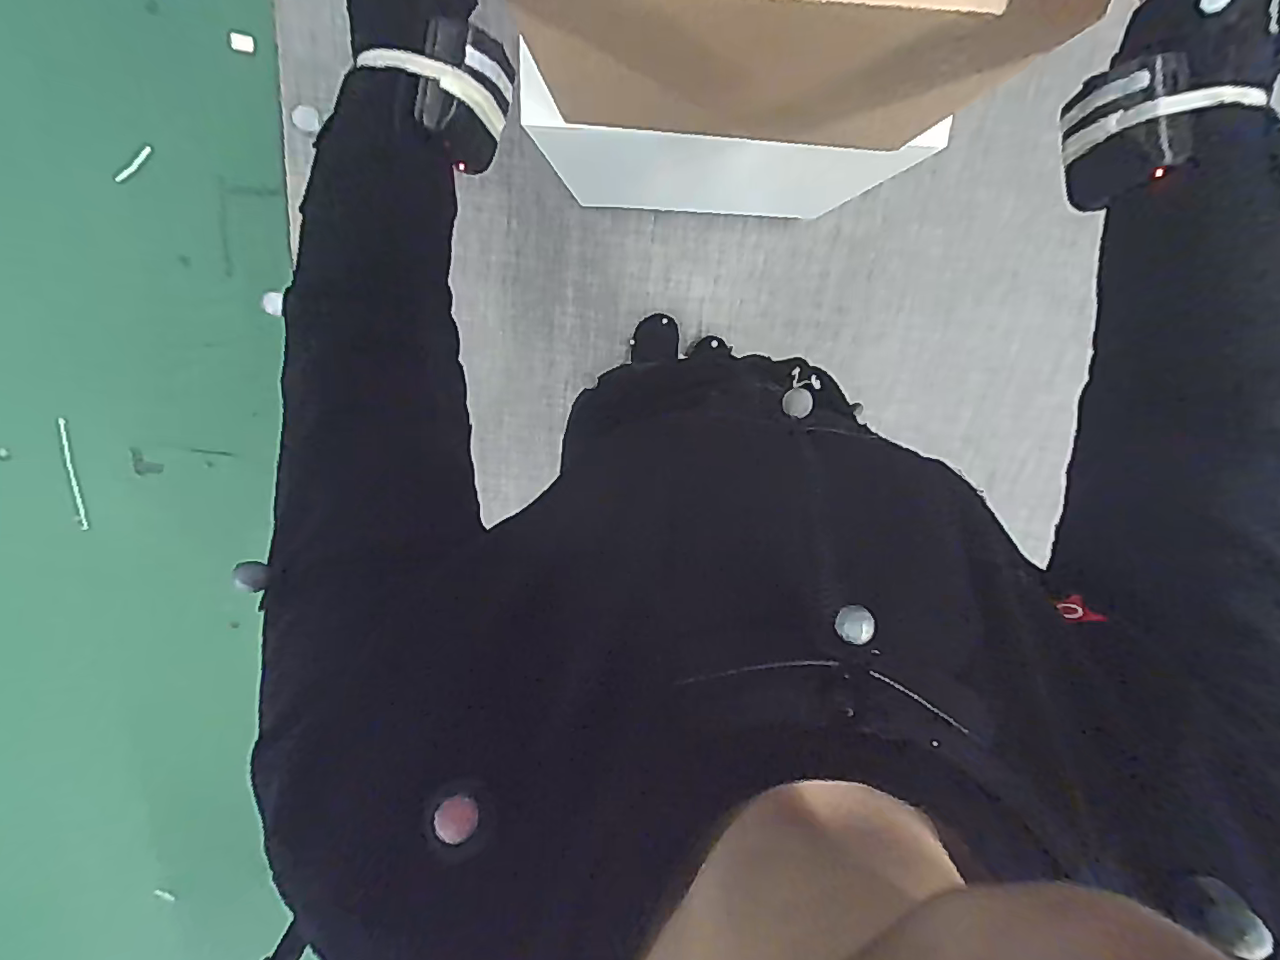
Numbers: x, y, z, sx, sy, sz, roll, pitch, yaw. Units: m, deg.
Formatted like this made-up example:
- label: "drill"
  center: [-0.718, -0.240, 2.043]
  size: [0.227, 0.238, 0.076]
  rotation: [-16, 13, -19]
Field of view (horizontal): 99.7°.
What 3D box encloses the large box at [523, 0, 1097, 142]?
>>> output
- label: "large box"
  center: [0.117, -0.512, 0.458]
  size: [0.408, 0.320, 0.320]
  rotation: [4, 108, -1]
